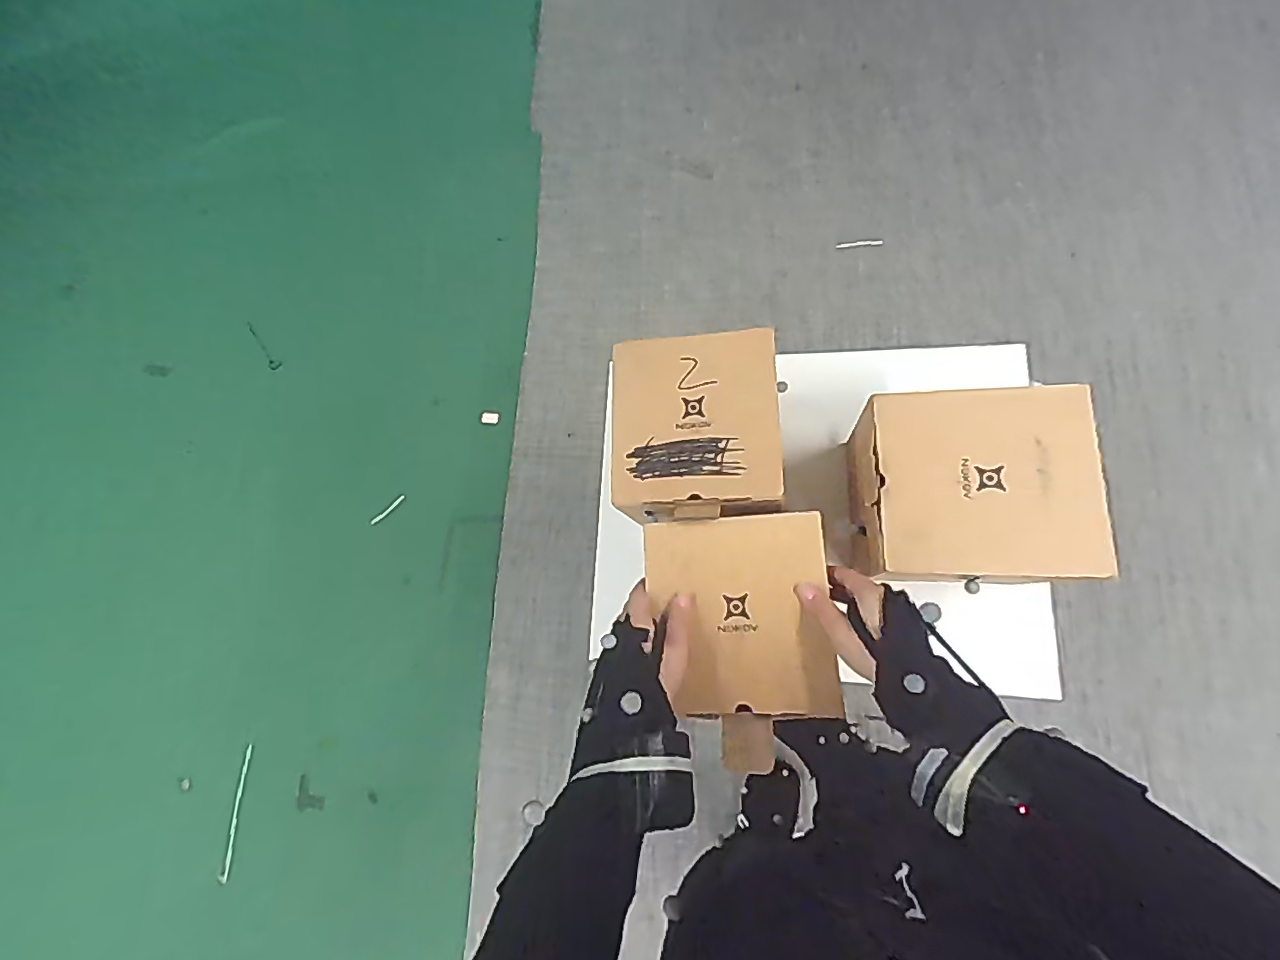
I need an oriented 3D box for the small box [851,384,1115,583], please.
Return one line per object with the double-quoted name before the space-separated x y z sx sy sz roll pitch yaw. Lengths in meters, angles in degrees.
"small box" 0.313 0.016 0.539 0.179 0.176 0.168 -1 78 13
